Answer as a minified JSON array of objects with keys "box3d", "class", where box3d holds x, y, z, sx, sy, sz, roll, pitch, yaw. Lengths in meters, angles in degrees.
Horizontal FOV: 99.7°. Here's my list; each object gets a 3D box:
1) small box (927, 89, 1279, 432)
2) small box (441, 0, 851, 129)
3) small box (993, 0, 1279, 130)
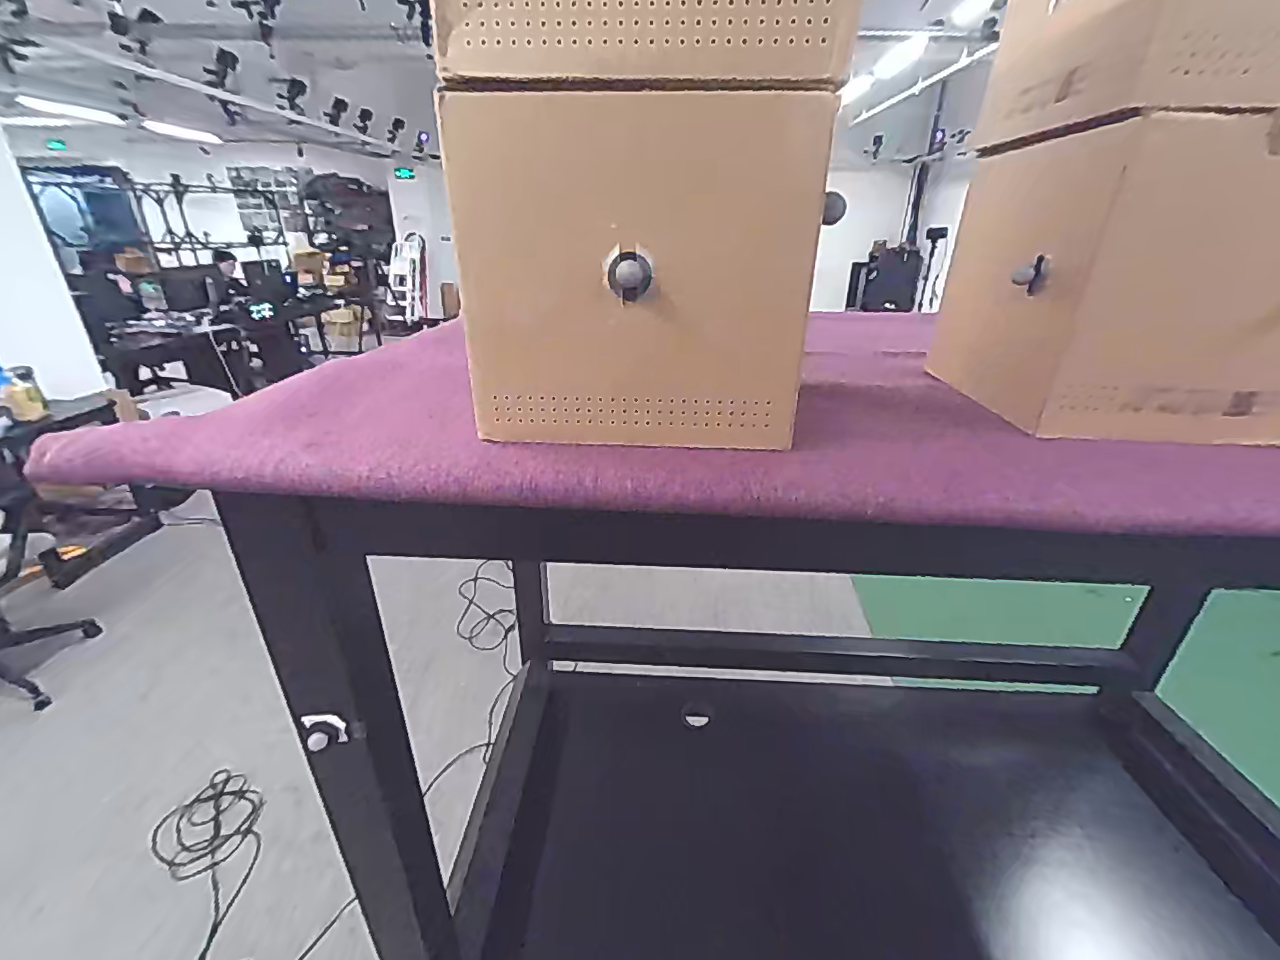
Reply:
[{"box3d":[0.320,-0.136,0.355,0.168,0.176,0.179,3,24,3],"class":"small box"},{"box3d":[0.003,-0.280,0.260,0.179,0.176,0.168,0,26,1],"class":"small box"},{"box3d":[0.323,-0.286,0.286,0.179,0.176,0.168,3,26,3],"class":"small box"}]
